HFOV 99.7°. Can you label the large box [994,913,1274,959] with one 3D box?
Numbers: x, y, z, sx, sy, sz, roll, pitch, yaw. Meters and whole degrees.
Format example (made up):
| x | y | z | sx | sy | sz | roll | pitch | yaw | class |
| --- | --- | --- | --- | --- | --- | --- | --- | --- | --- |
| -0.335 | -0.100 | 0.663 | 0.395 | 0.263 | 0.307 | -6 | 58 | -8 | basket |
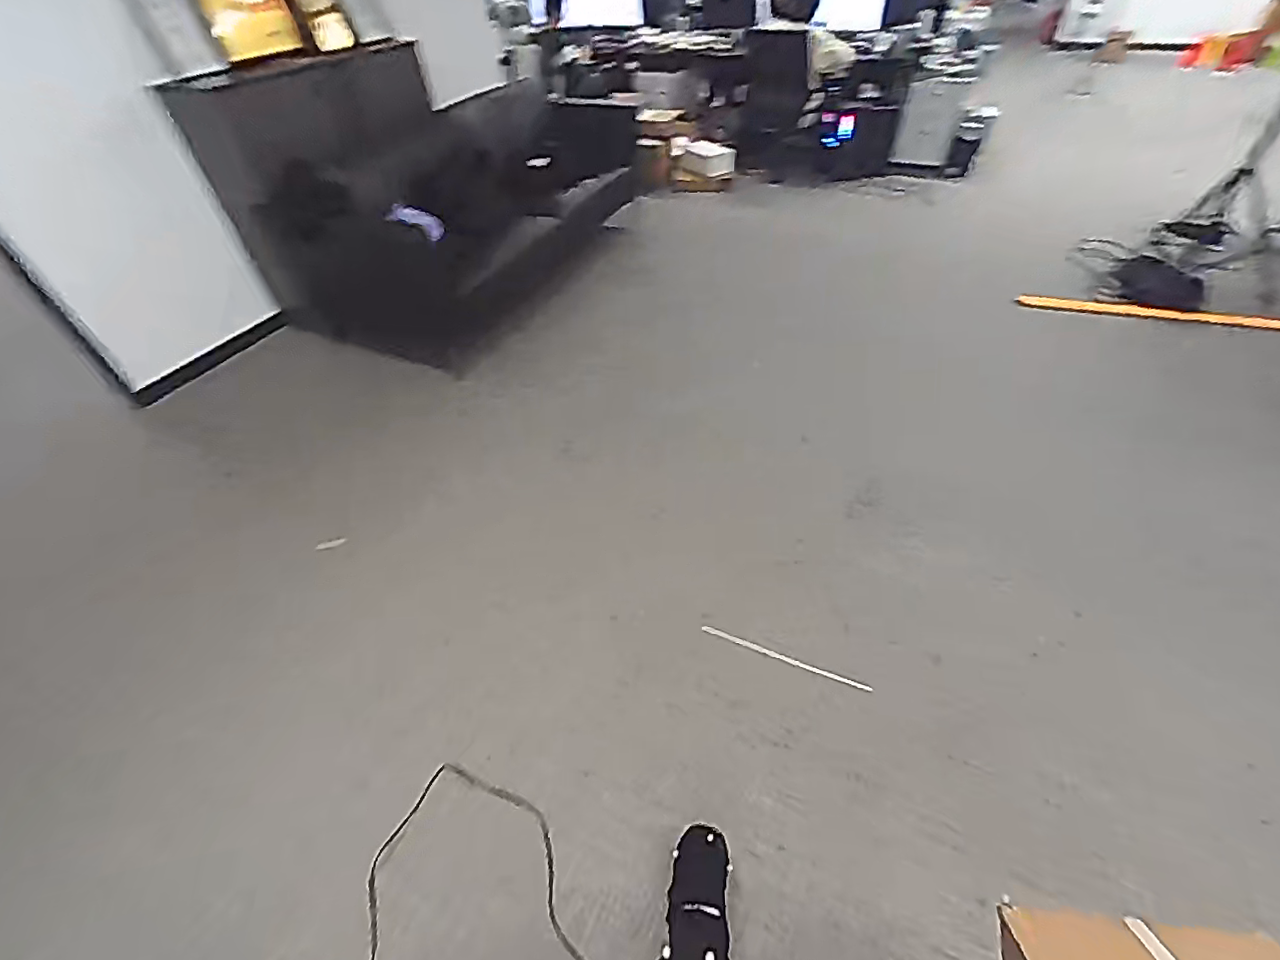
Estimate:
| x | y | z | sx | sy | sz | roll | pitch | yaw | class |
| --- | --- | --- | --- | --- | --- | --- | --- | --- | --- |
| 0.619 | 0.754 | 0.539 | 0.320 | 0.408 | 0.320 | -2 | 89 | 12 | large box |
